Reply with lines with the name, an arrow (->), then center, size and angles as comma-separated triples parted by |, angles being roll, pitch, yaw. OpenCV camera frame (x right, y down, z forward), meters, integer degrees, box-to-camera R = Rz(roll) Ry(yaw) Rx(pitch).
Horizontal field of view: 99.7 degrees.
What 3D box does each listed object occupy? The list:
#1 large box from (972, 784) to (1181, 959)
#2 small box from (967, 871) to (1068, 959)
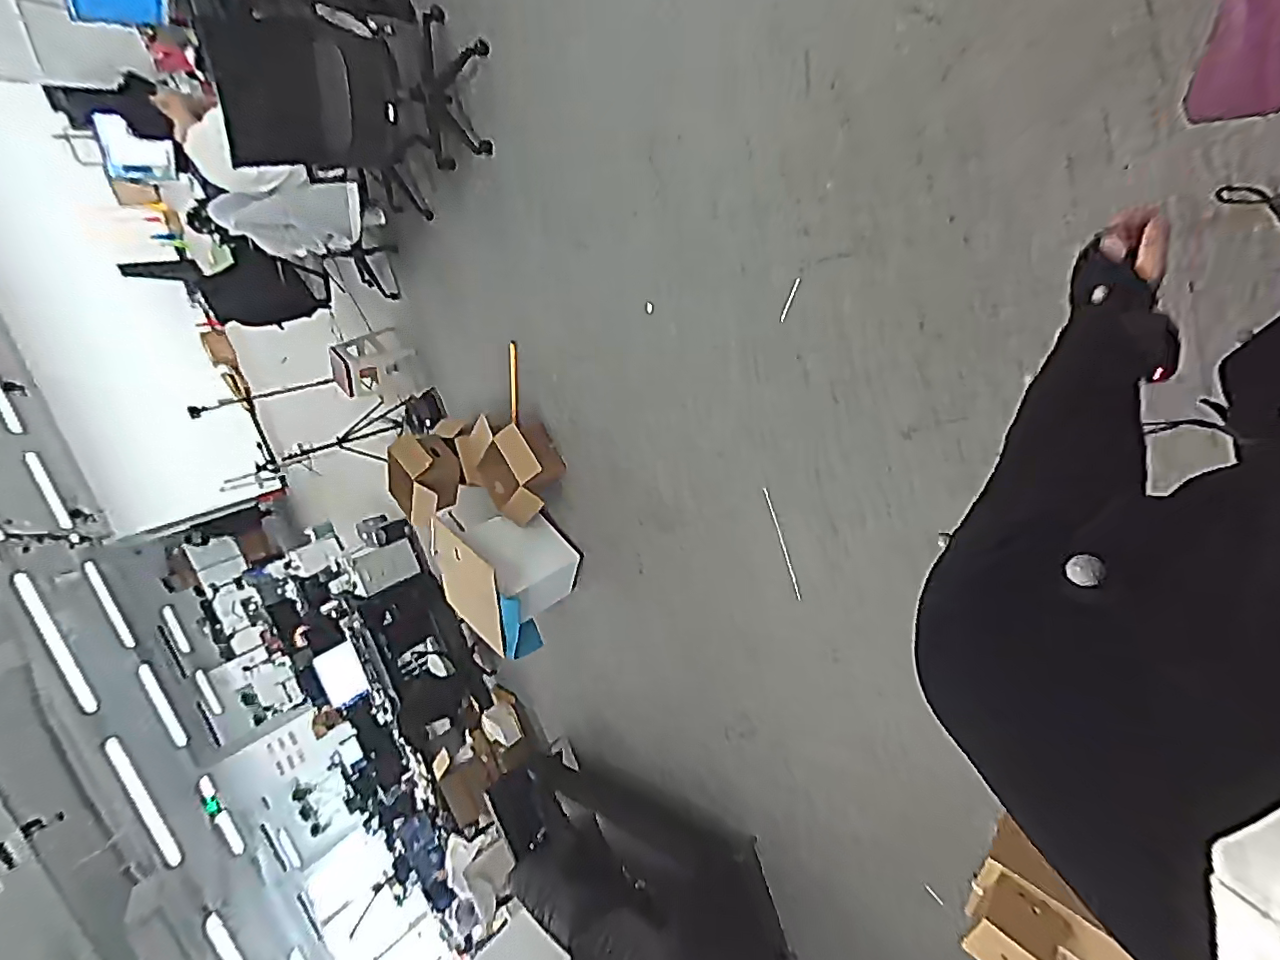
large box -> 1.281, 1.223, 1.610 | 0.408, 0.320, 0.320 | 21, 126, 39
small box -> 1.045, 1.247, 1.494 | 0.168, 0.176, 0.179 | 28, 128, 35
